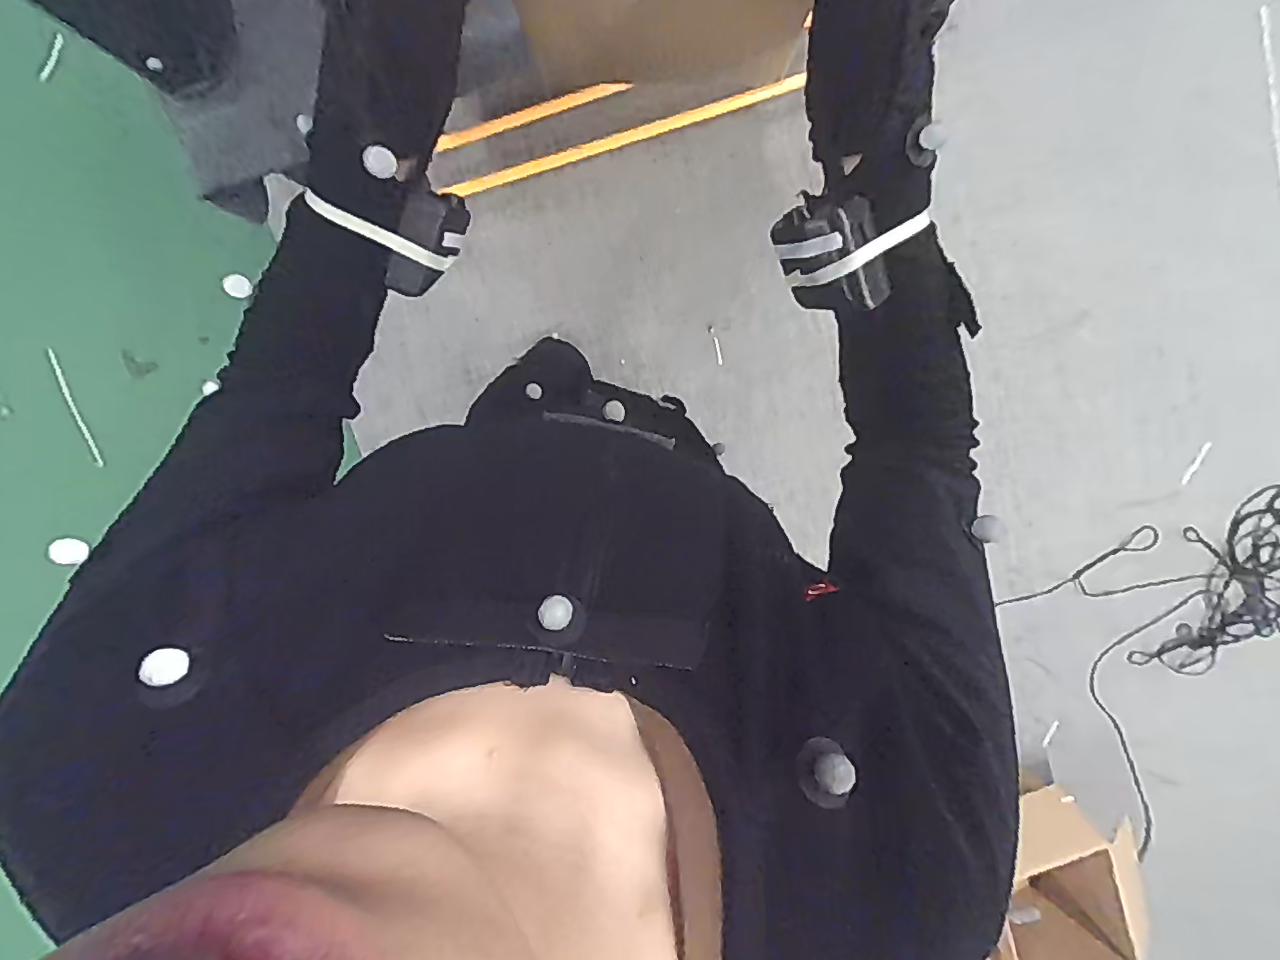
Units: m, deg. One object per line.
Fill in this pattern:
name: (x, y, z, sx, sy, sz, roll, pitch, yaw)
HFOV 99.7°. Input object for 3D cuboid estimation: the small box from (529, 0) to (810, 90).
small box: (0.019, -0.355, 0.311, 0.179, 0.176, 0.168, 1, 102, 1)
